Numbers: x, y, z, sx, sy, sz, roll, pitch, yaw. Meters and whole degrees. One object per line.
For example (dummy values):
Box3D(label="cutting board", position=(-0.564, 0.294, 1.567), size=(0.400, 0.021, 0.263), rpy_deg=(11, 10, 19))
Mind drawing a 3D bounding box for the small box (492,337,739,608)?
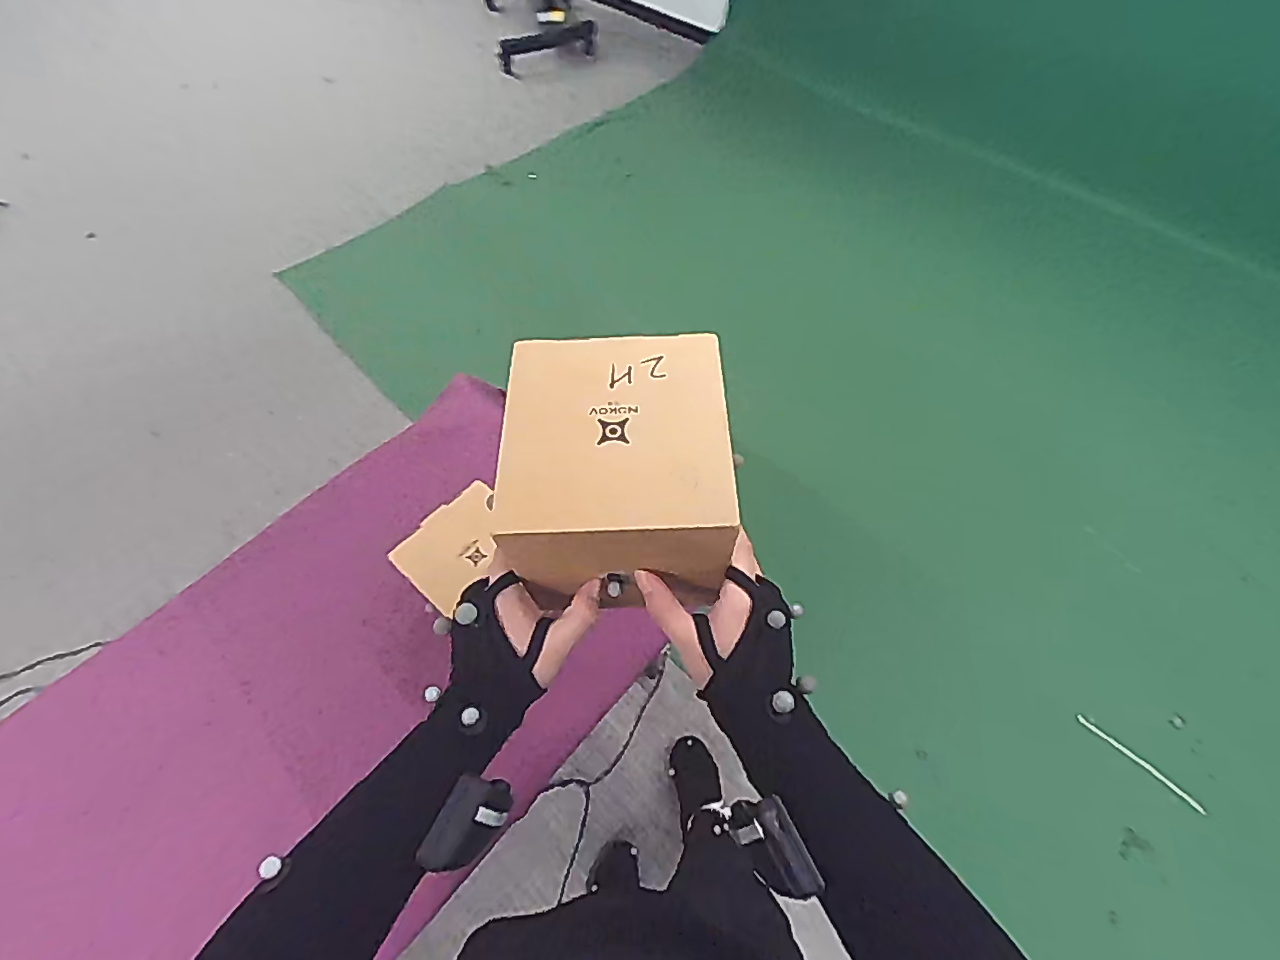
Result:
Box3D(label="small box", position=(-0.011, 0.004, 0.458), size=(0.168, 0.176, 0.179), rpy_deg=(-1, 59, 2))

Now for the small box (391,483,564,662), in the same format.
Box3D(label="small box", position=(-0.224, 0.143, 0.805), size=(0.179, 0.176, 0.168), rpy_deg=(37, 67, 21))
